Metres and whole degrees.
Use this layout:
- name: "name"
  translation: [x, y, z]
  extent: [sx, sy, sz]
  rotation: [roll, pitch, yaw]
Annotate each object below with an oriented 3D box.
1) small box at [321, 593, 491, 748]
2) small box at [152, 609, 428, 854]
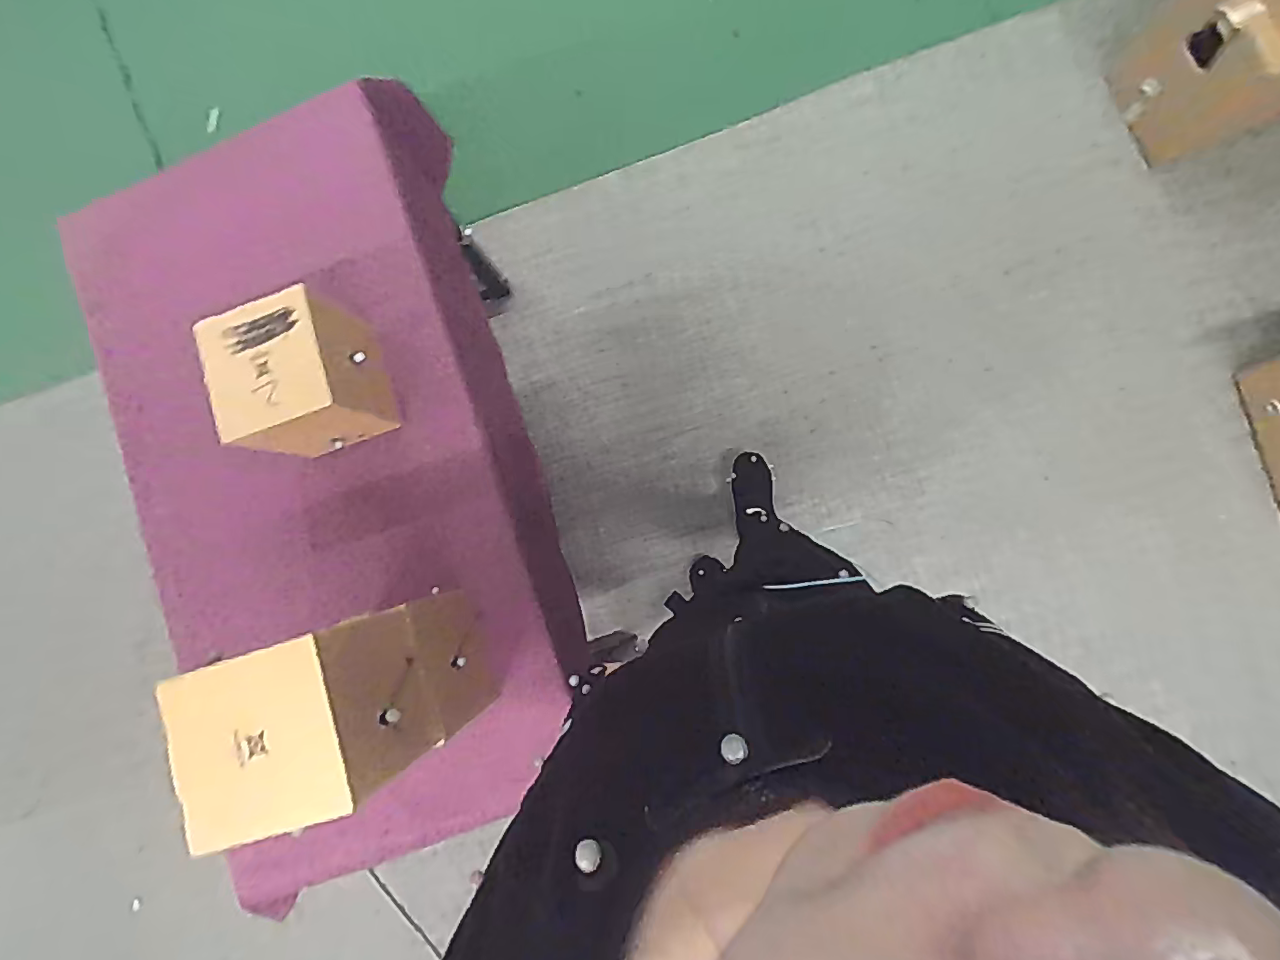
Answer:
- name: "small box"
  translation: [-0.329, 0.263, 0.741]
  extent: [0.168, 0.176, 0.179]
  rotation: [-20, 84, 5]
- name: "small box"
  translation: [-0.352, 0.249, 0.580]
  extent: [0.179, 0.176, 0.168]
  rotation: [-19, 83, 6]
